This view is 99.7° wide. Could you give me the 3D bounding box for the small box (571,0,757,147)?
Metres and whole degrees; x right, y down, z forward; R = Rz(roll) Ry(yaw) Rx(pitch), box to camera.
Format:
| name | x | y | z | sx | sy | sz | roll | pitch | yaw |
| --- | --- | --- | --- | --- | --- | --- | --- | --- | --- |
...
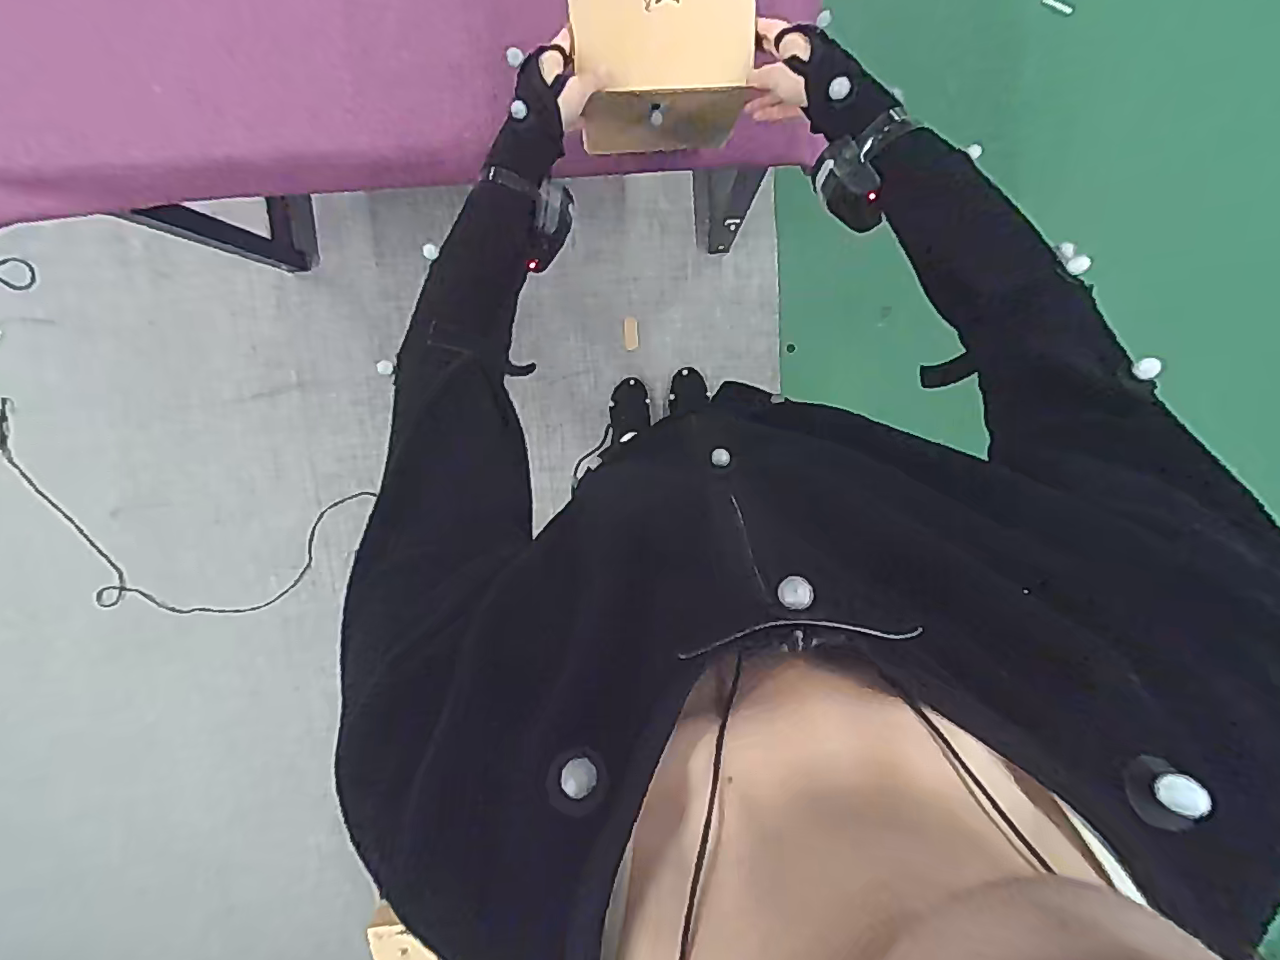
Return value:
| name | x | y | z | sx | sy | sz | roll | pitch | yaw |
| --- | --- | --- | --- | --- | --- | --- | --- | --- | --- |
| small box | 0.022 | -0.478 | 0.580 | 0.179 | 0.176 | 0.168 | -3 | 105 | 2 |
